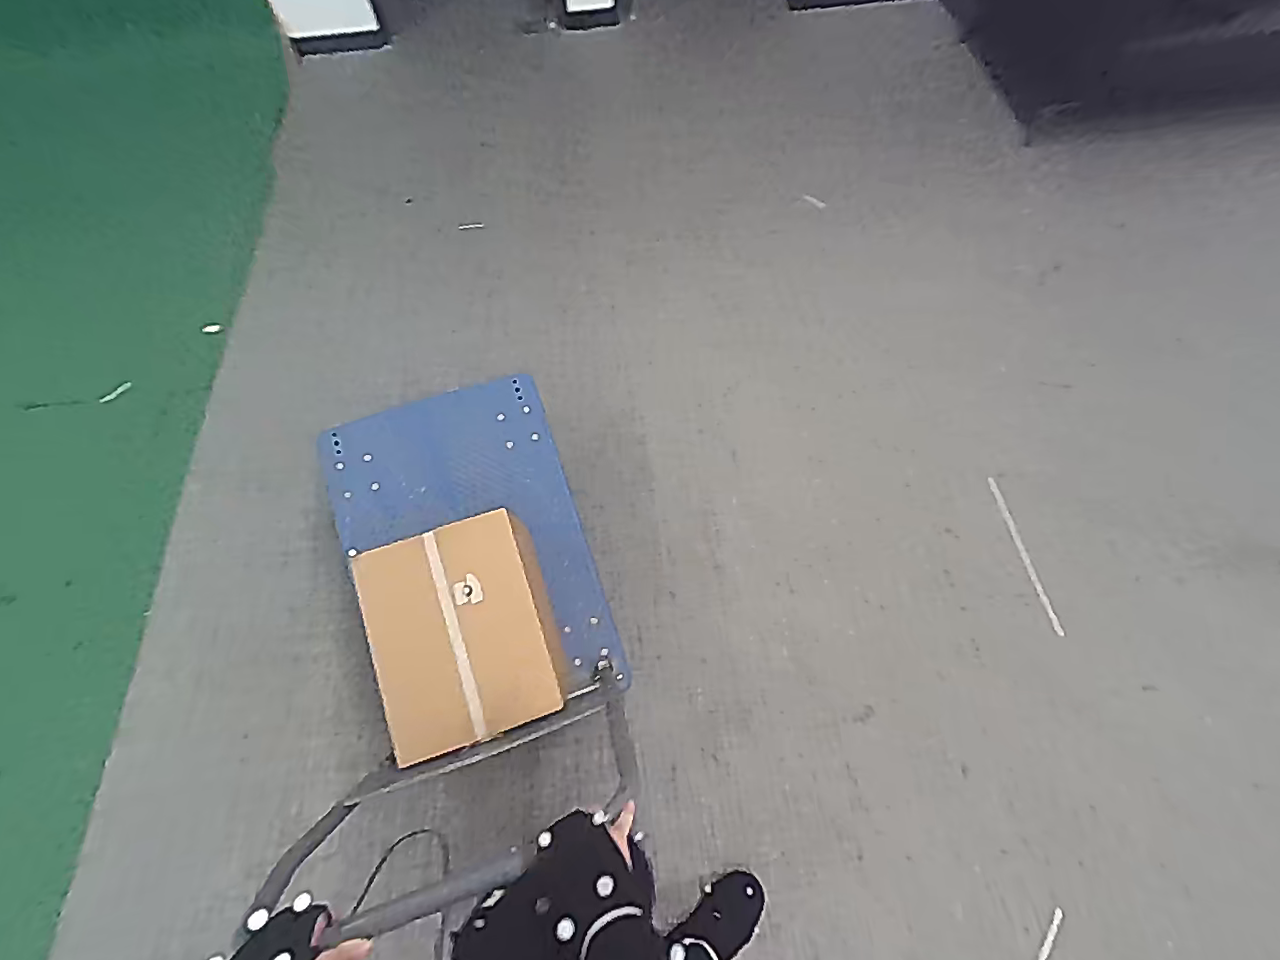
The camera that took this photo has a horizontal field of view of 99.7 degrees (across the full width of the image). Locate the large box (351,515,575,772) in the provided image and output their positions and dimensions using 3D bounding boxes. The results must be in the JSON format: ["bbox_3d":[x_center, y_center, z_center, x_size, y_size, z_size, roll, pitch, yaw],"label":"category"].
[{"bbox_3d":[-0.357,0.333,1.174,0.320,0.320,0.408,-19,78,-8],"label":"large box"}]
